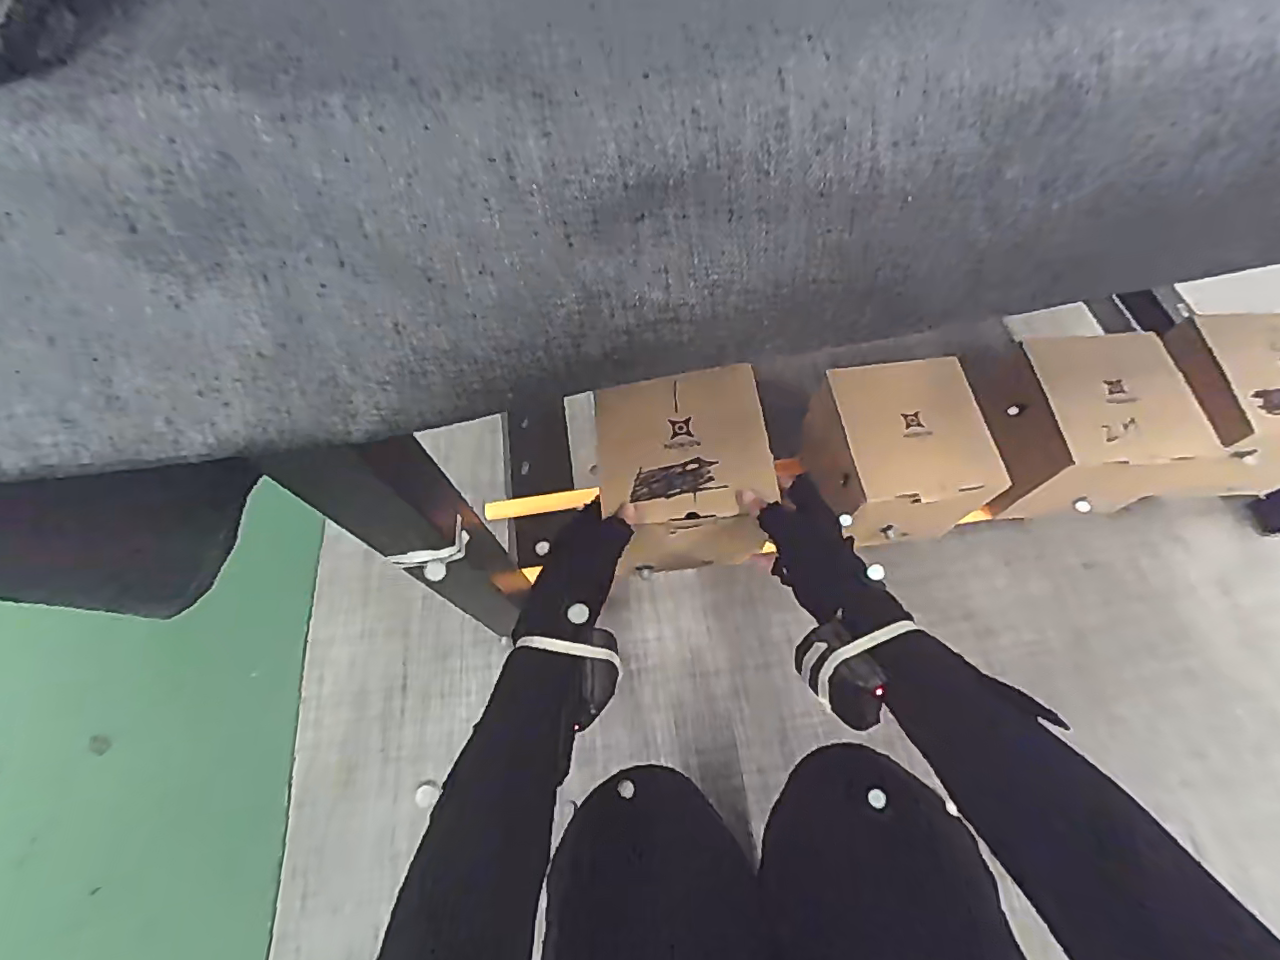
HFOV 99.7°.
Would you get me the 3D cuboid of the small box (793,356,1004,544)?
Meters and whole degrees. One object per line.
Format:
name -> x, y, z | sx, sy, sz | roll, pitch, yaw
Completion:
small box -> 0.309, -0.032, 0.692 | 0.168, 0.176, 0.179 | -7, 66, -1
